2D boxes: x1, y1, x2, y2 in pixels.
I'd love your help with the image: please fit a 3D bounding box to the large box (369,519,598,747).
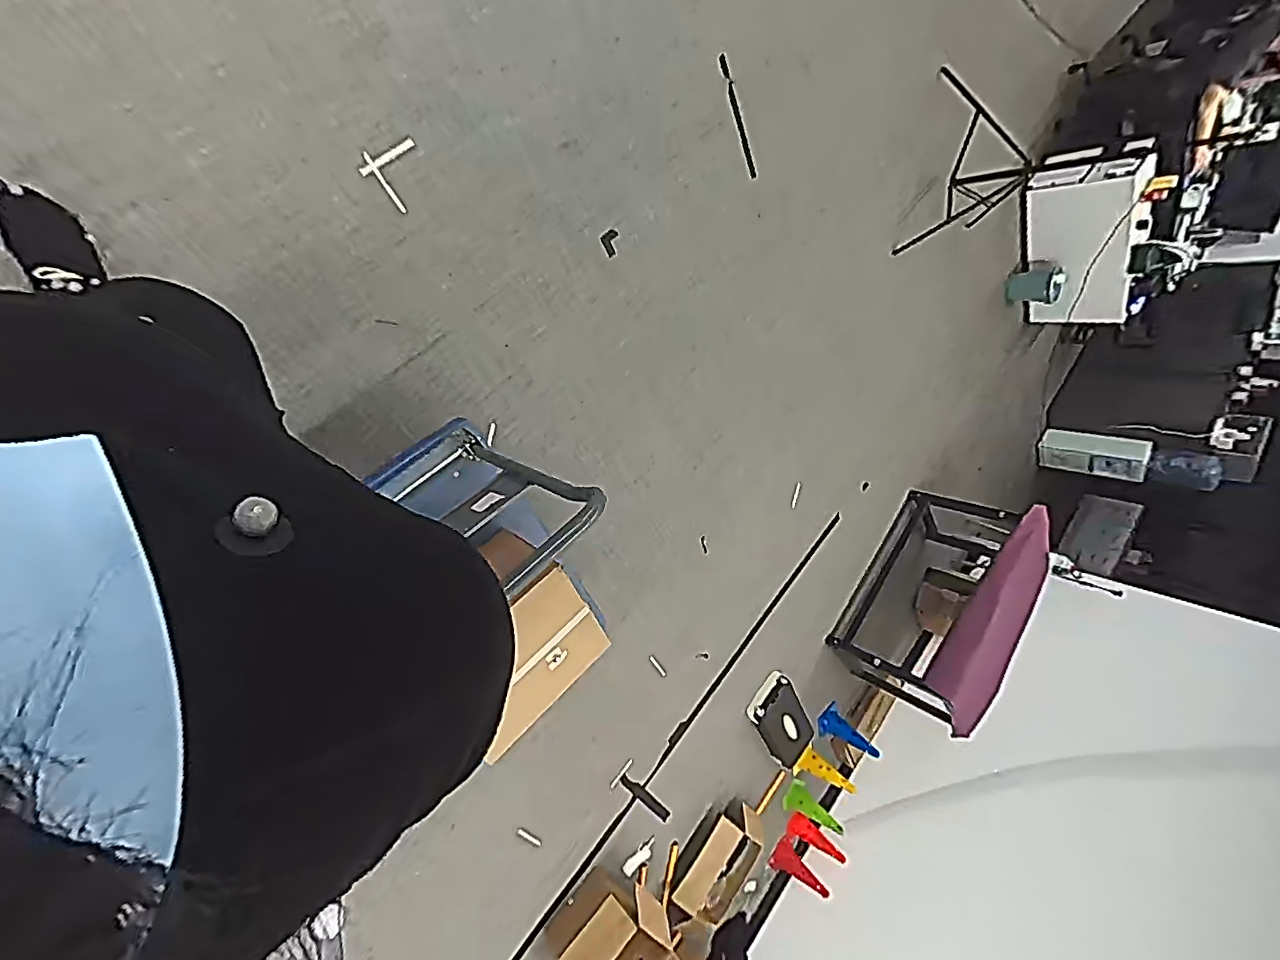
[{"bbox_3d":[-0.393,0.369,1.385,0.408,0.320,0.320,-42,127,-24],"label":"large box"}]
